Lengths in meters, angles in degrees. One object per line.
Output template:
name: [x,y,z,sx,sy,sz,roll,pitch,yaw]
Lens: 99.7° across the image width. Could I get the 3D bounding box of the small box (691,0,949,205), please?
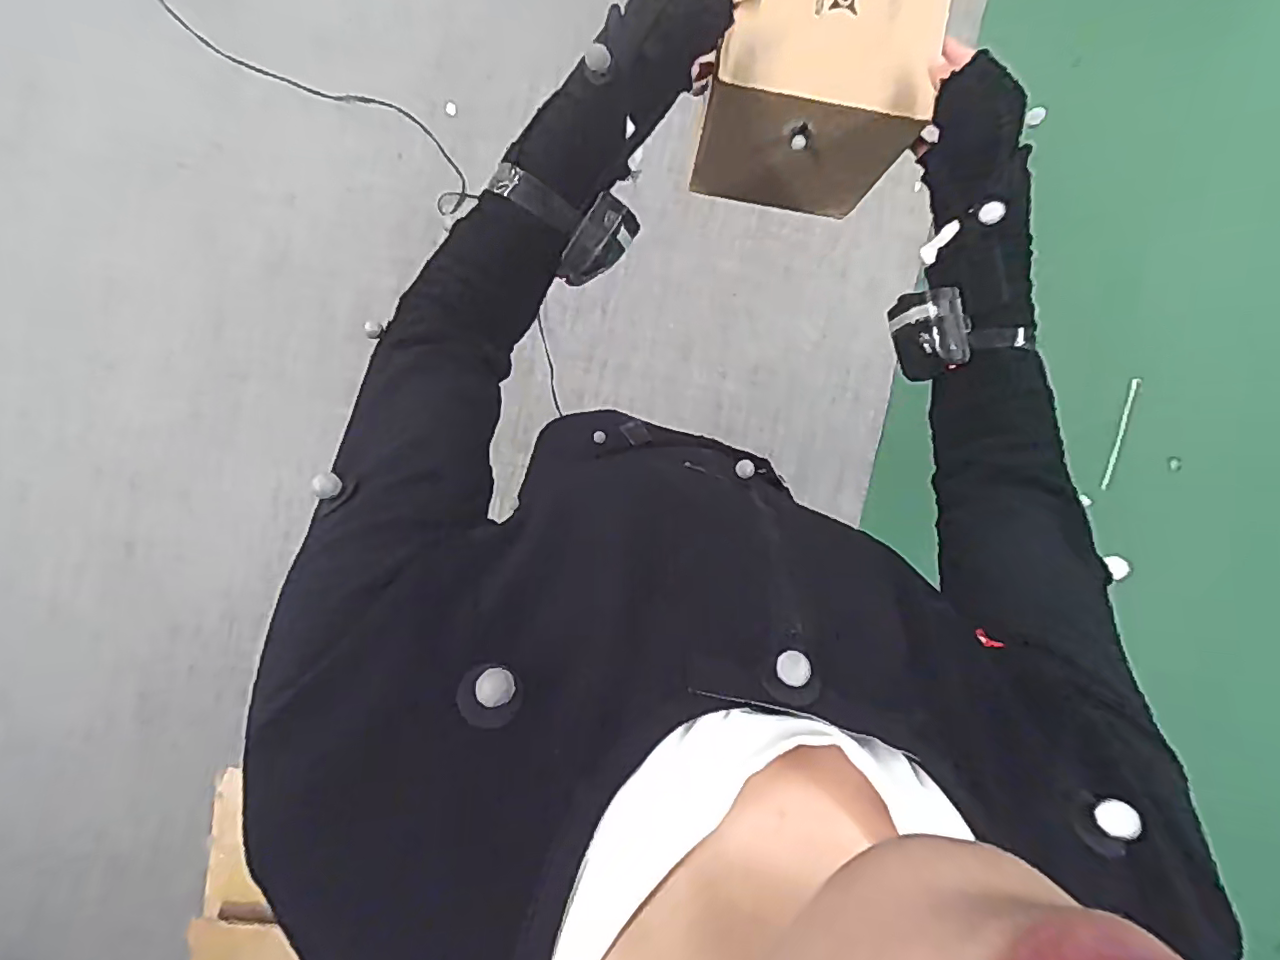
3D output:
small box: [0.151,-0.382,0.498,0.179,0.176,0.168,8,91,-4]
